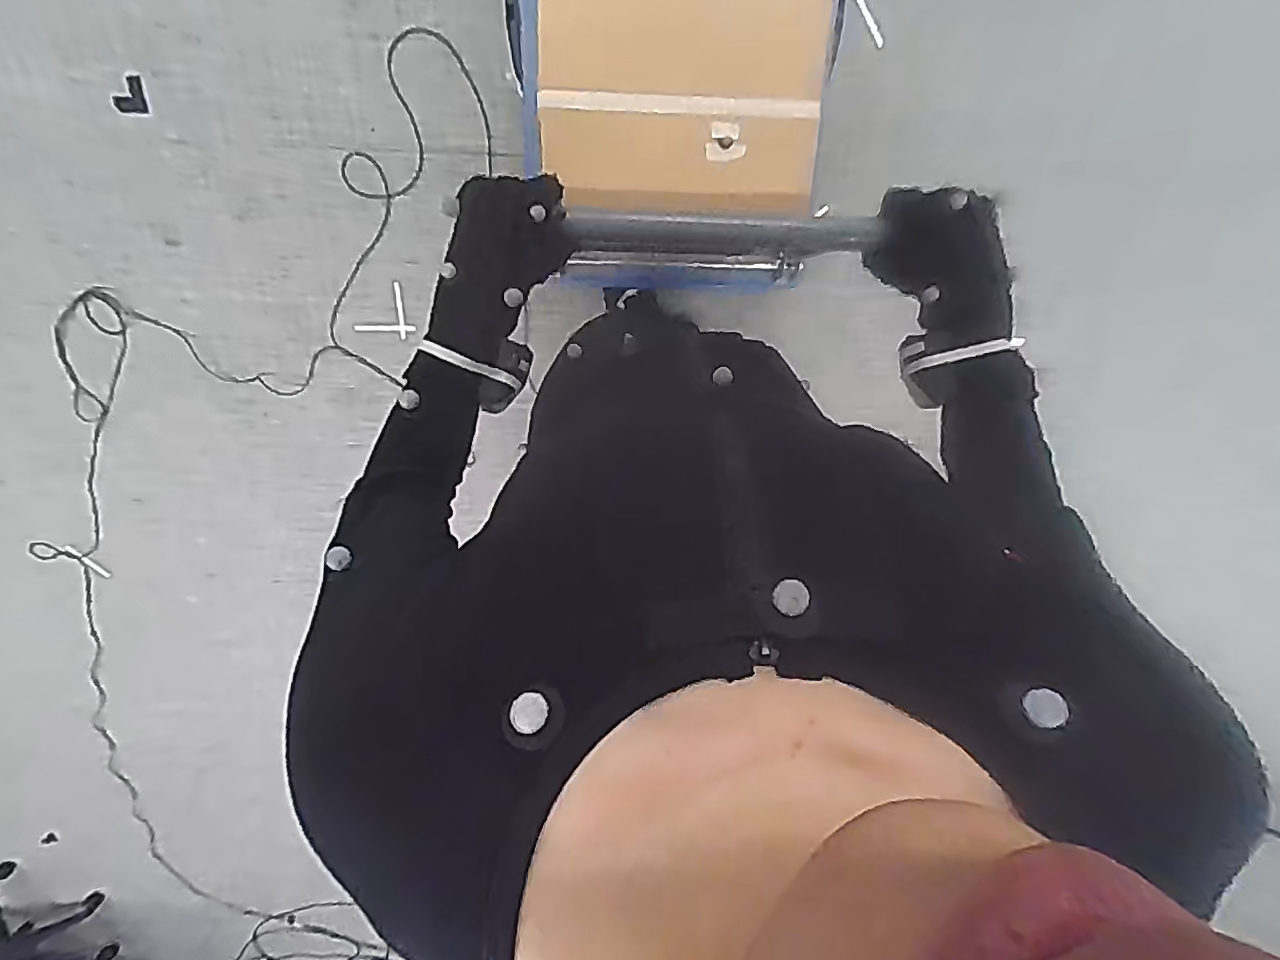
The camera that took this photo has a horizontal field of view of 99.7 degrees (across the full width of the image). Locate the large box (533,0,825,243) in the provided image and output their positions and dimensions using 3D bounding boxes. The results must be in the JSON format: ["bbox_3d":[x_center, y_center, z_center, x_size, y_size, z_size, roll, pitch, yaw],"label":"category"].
[{"bbox_3d":[0.045,-0.581,0.912,0.408,0.320,0.320,1,110,-3],"label":"large box"}]
